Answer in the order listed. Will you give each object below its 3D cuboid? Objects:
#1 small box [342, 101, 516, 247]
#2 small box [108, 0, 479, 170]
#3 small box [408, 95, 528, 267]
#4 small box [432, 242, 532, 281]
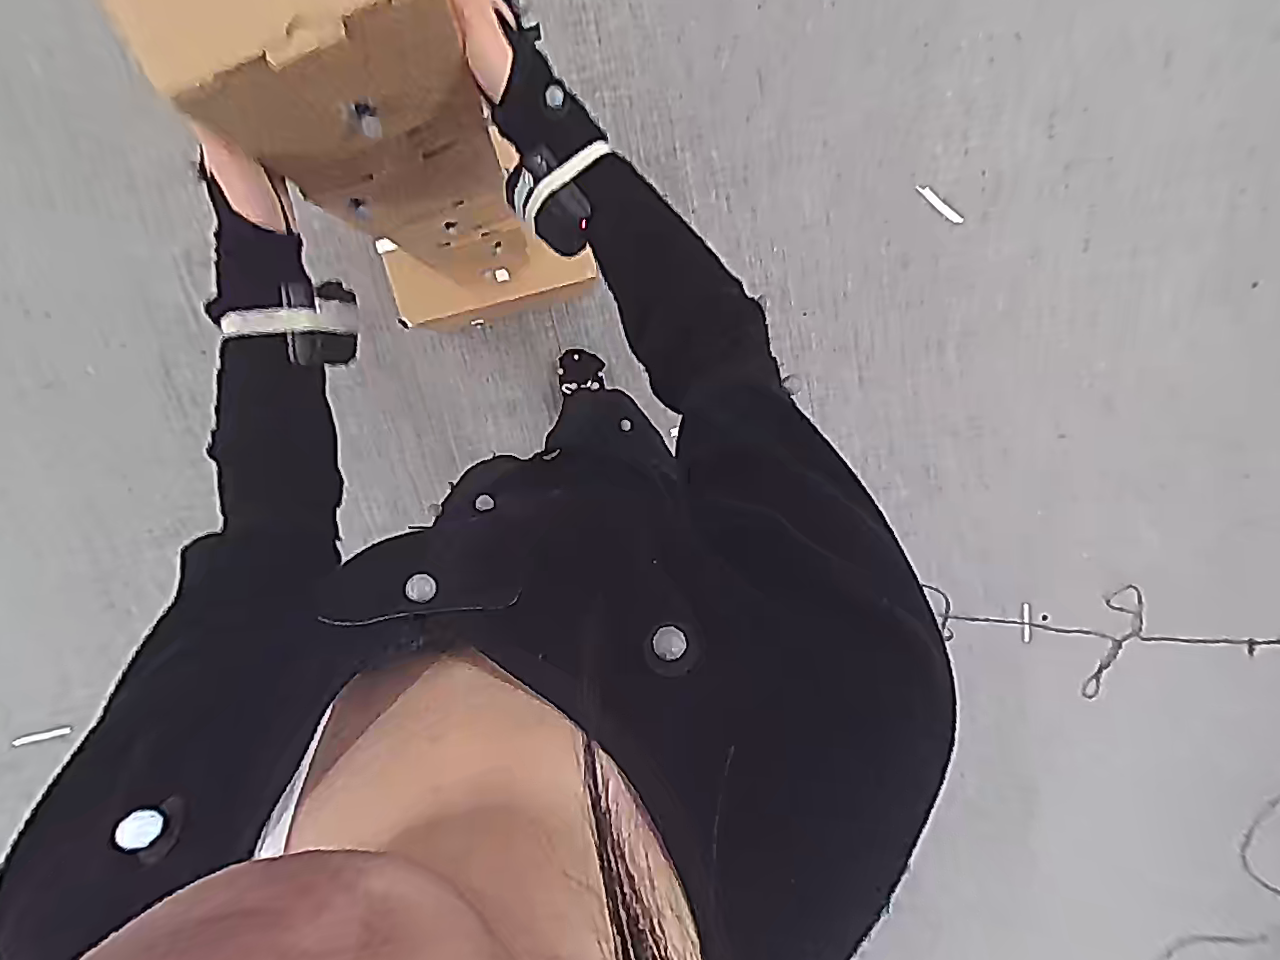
[{"bbox_3d":[-0.262,-0.402,0.661,0.168,0.176,0.179,-22,105,-3],"label":"small box"},{"bbox_3d":[-0.221,-0.327,0.345,0.168,0.176,0.179,-25,106,-2],"label":"small box"},{"bbox_3d":[-0.277,-0.436,0.822,0.168,0.176,0.179,-18,103,-4],"label":"small box"},{"bbox_3d":[-0.302,-0.476,0.977,0.168,0.176,0.179,-16,105,-3],"label":"small box"}]
